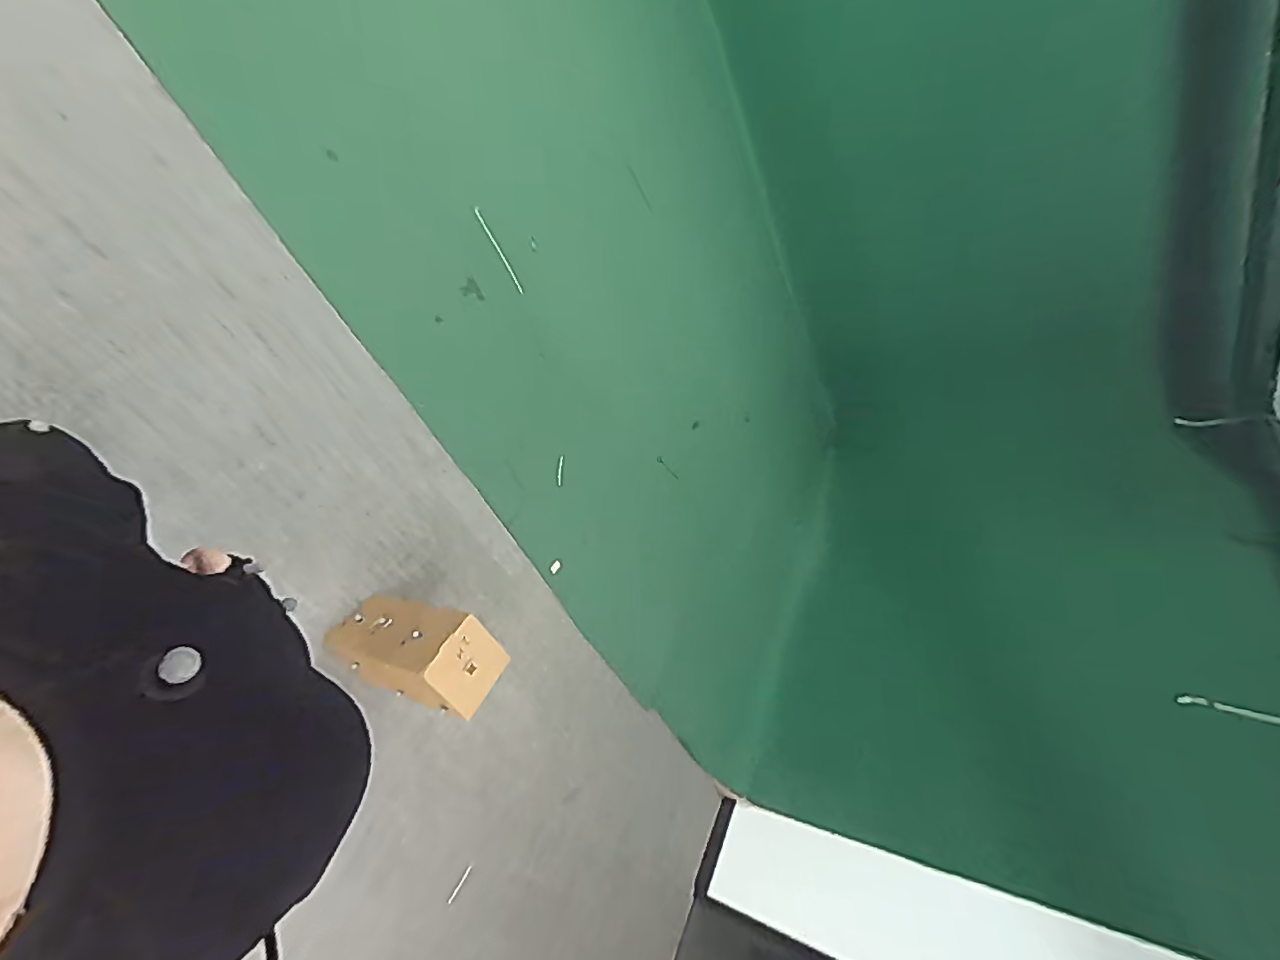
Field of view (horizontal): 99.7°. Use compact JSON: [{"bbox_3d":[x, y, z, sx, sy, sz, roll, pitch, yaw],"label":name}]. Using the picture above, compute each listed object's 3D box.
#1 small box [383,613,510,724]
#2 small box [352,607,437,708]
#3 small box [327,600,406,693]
[{"bbox_3d":[-0.443,0.423,1.244,0.168,0.176,0.179,-55,128,-40],"label":"small box"},{"bbox_3d":[-0.570,0.432,1.349,0.168,0.176,0.179,-55,127,-40],"label":"small box"},{"bbox_3d":[-0.695,0.439,1.452,0.168,0.176,0.179,-50,124,-41],"label":"small box"}]
